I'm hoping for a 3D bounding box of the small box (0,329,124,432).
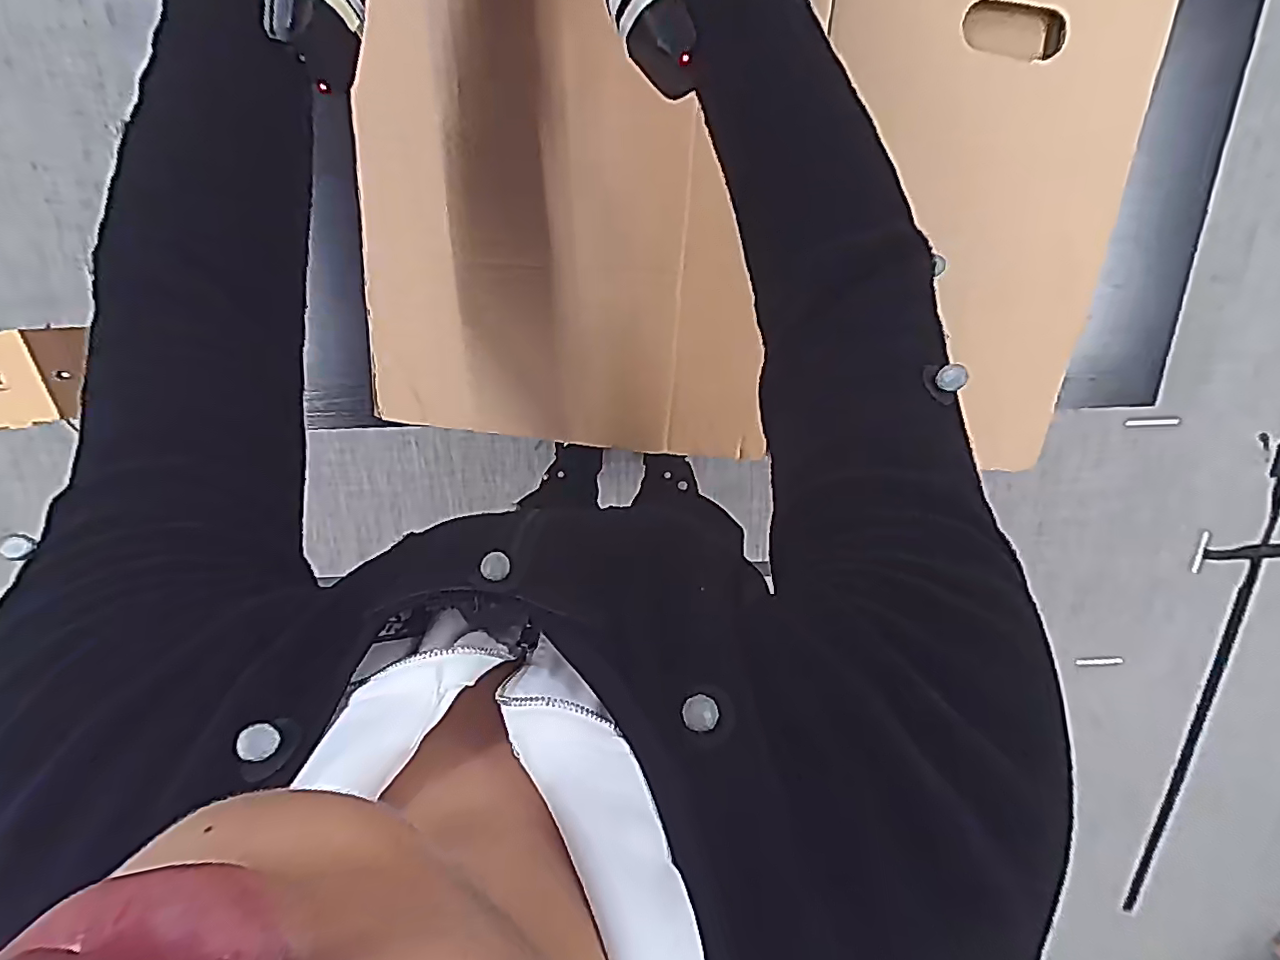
[{"bbox_3d":[-1.218,-0.205,1.094,0.168,0.176,0.179,-9,107,-1],"label":"small box"}]
